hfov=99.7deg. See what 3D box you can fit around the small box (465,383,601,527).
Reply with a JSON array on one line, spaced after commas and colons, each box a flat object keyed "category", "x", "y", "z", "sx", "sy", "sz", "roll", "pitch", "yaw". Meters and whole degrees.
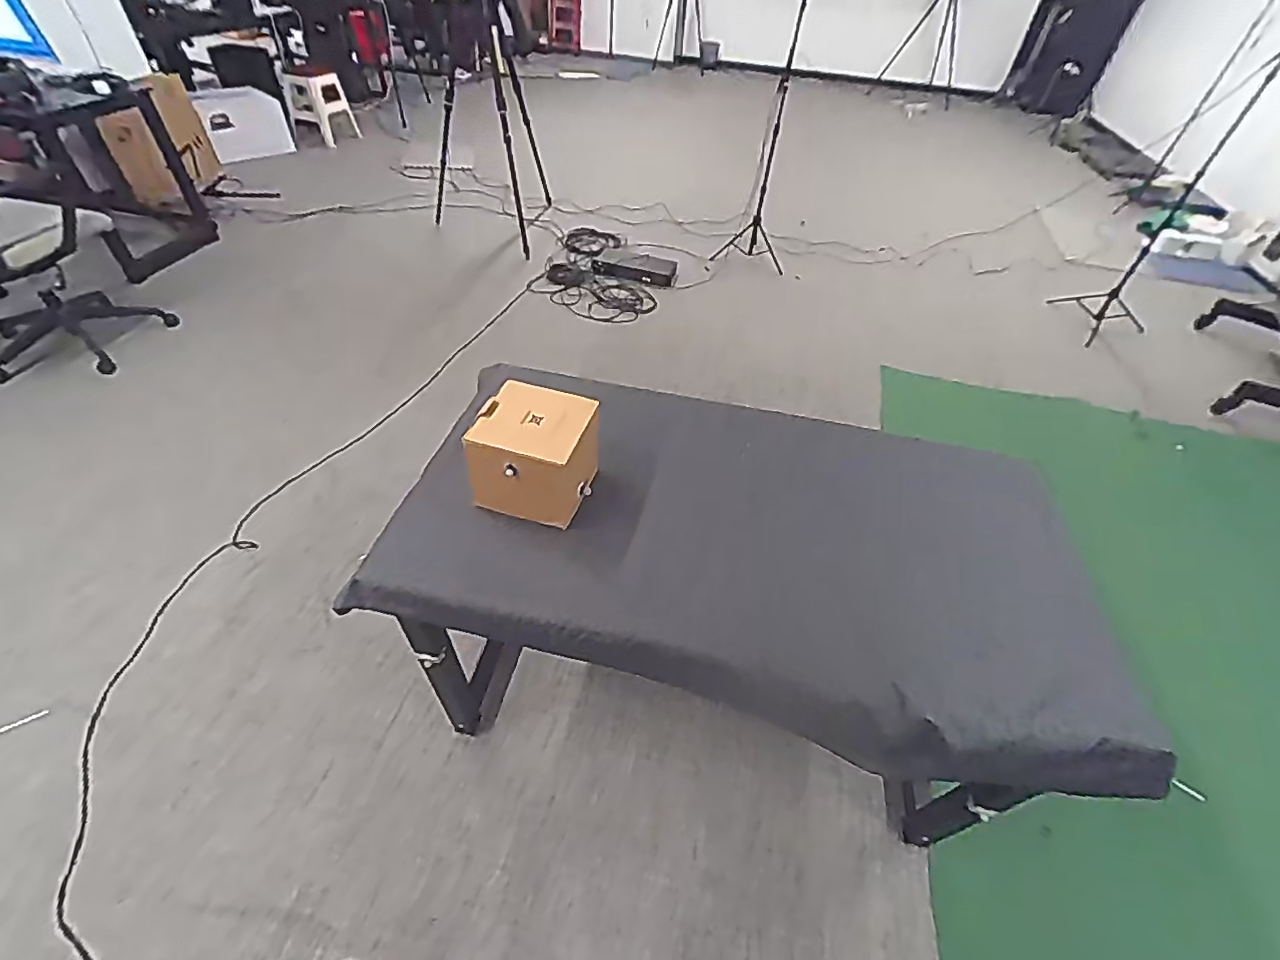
[{"category": "small box", "x": -0.179, "y": -0.041, "z": 0.951, "sx": 0.179, "sy": 0.176, "sz": 0.168, "roll": 15, "pitch": 48, "yaw": 7}]
